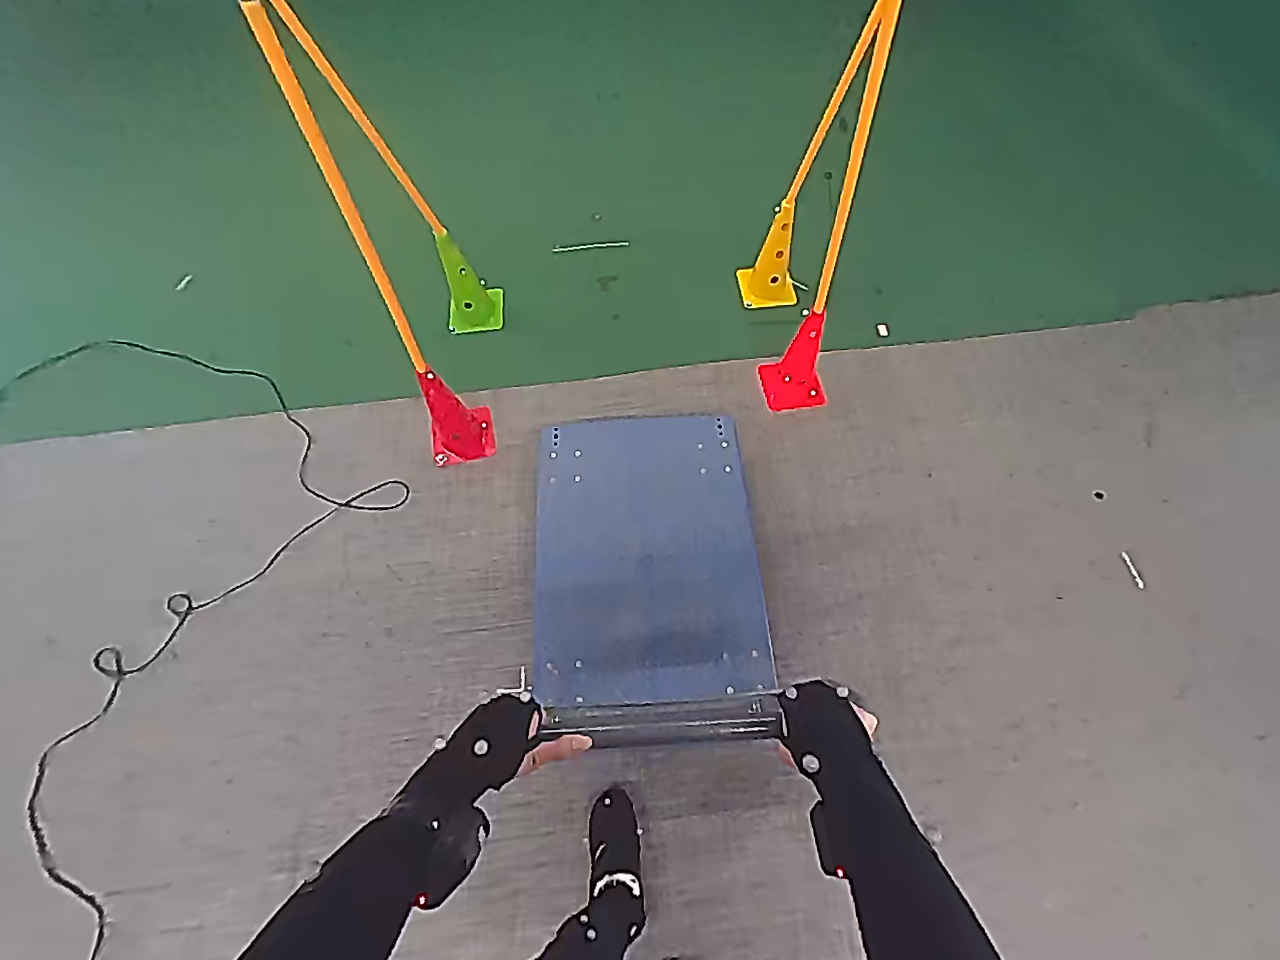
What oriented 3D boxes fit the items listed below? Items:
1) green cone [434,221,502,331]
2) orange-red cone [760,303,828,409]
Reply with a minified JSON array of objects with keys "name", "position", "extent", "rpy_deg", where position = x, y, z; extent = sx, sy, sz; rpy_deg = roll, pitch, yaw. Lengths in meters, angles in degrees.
[{"name":"green cone","position":[-0.620,-0.719,1.864],"extent":[0.200,0.368,0.202],"rpy_deg":[-7,62,-1]},{"name":"orange-red cone","position":[0.512,-0.406,1.677],"extent":[0.198,0.360,0.199],"rpy_deg":[-6,62,-2]}]
